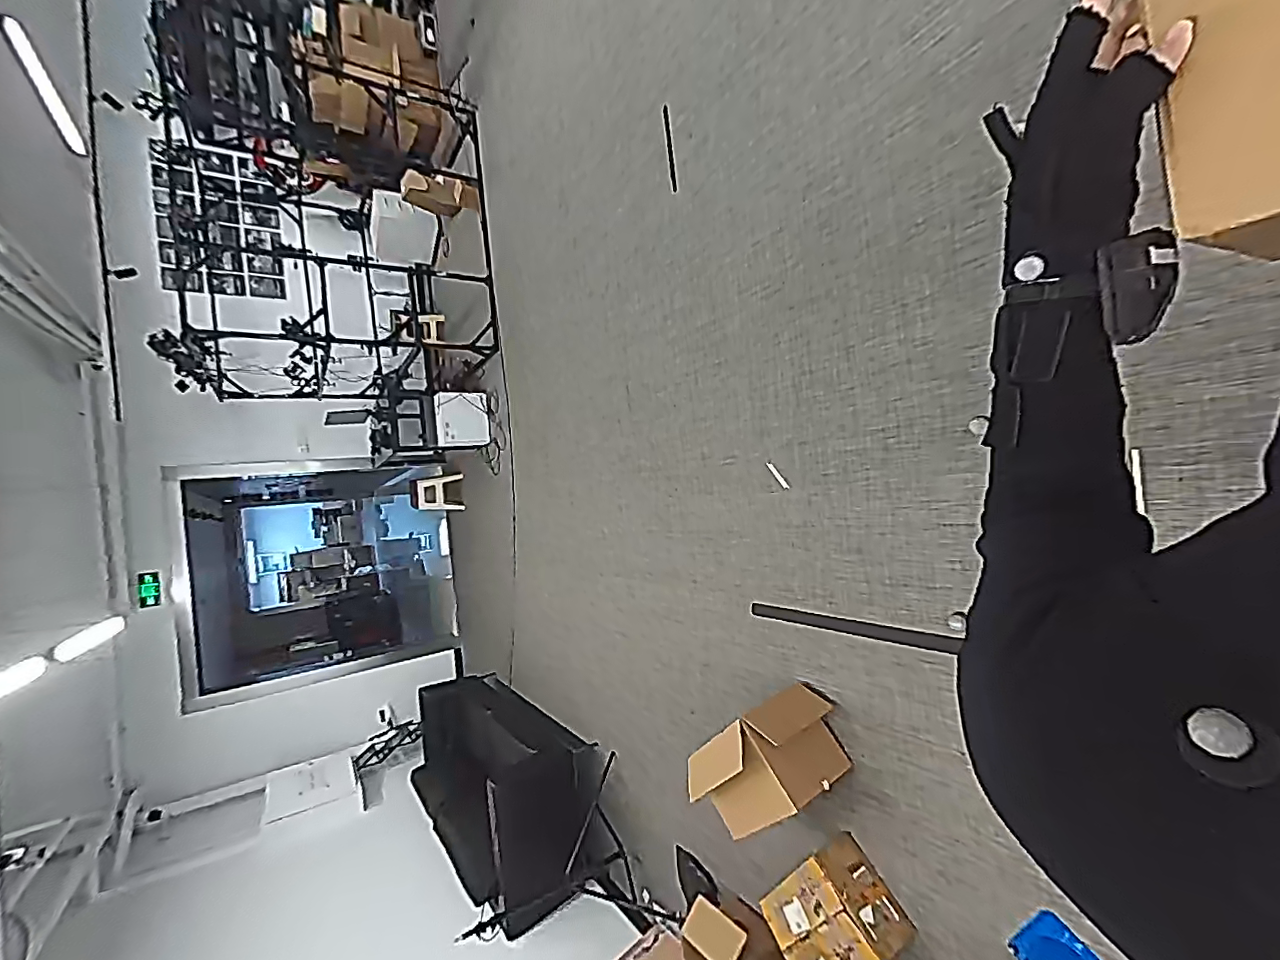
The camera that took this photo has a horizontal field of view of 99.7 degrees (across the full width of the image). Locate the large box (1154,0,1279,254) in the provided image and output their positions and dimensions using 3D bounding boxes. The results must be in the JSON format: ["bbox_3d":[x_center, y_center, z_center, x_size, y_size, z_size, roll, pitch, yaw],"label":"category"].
[{"bbox_3d":[0.521,-0.337,0.232,0.408,0.320,0.320,-7,96,56],"label":"large box"}]
